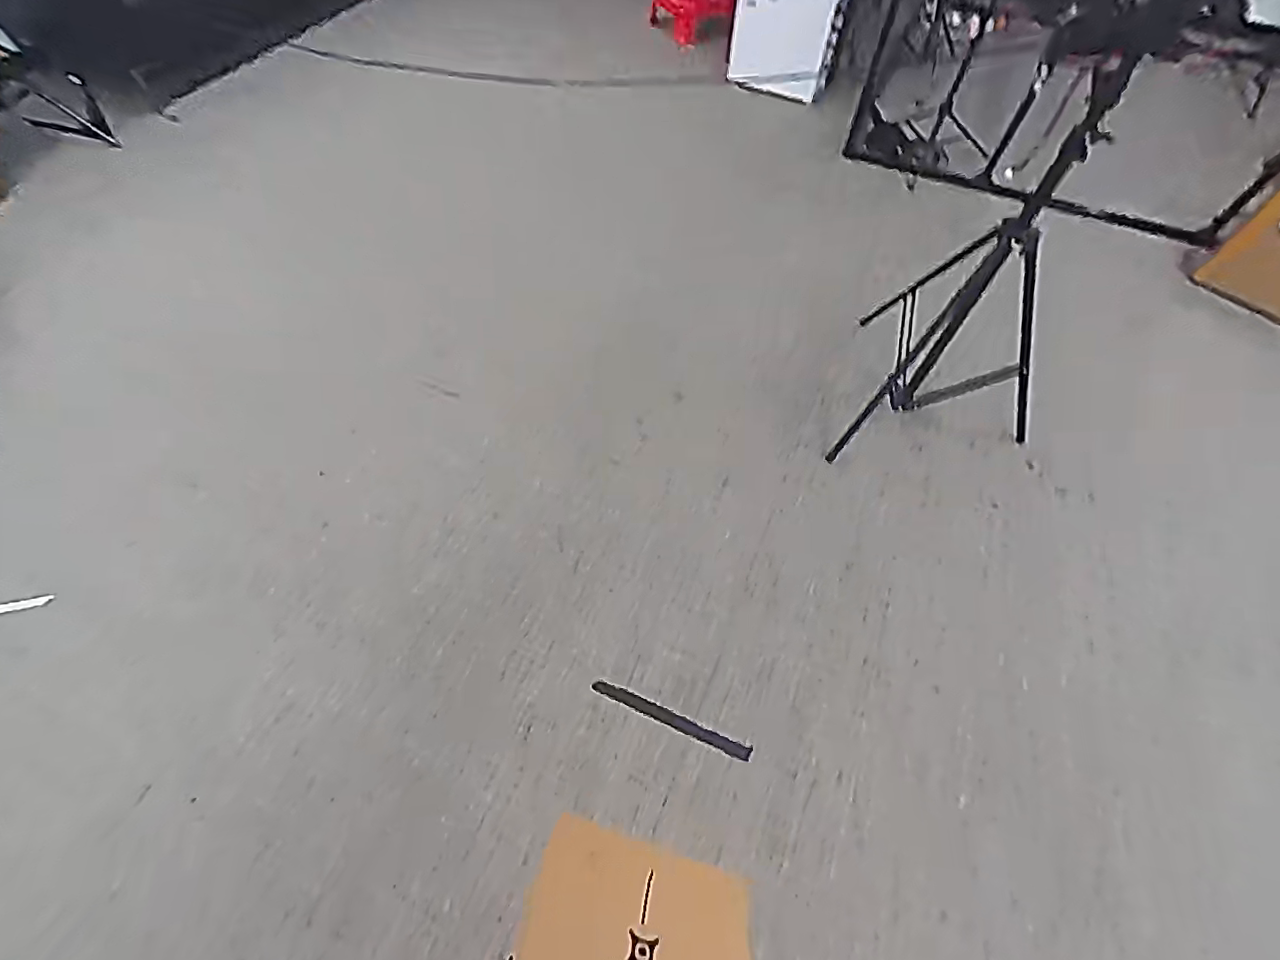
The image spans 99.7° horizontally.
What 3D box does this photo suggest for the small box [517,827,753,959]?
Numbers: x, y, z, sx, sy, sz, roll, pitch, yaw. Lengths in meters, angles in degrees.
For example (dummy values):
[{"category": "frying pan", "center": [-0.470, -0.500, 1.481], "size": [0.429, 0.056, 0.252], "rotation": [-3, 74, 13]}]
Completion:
[{"category": "small box", "center": [-0.022, 0.411, 0.394], "size": [0.168, 0.176, 0.179], "rotation": [18, 20, 1]}]
